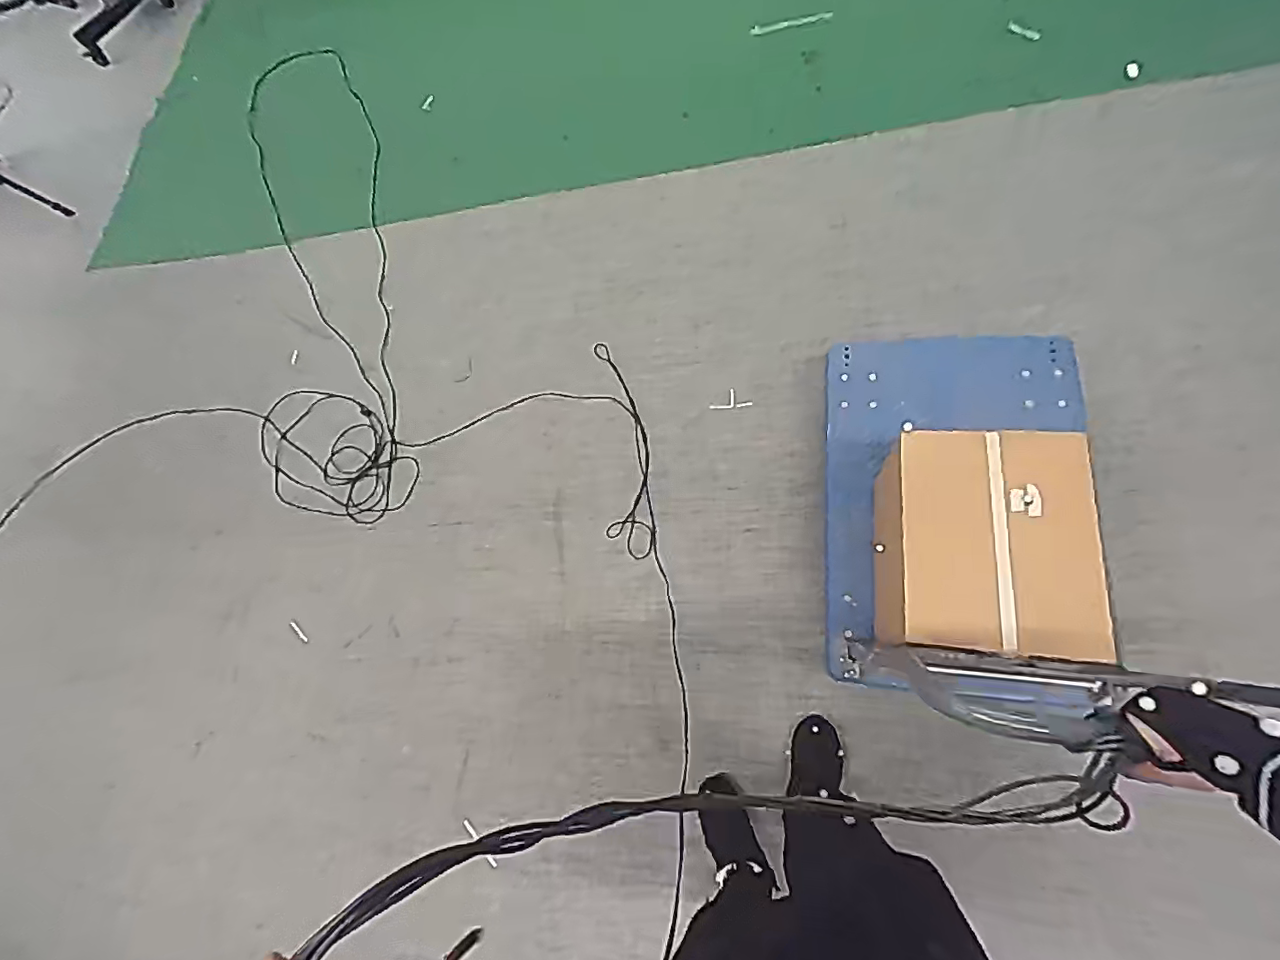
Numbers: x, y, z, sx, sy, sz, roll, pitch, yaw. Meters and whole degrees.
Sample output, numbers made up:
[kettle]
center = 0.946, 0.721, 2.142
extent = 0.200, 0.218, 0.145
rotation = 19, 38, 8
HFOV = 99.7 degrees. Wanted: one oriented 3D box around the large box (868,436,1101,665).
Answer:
[large box]
center = 0.655, 0.155, 1.108
extent = 0.320, 0.320, 0.408
rotation = 3, 72, 13
